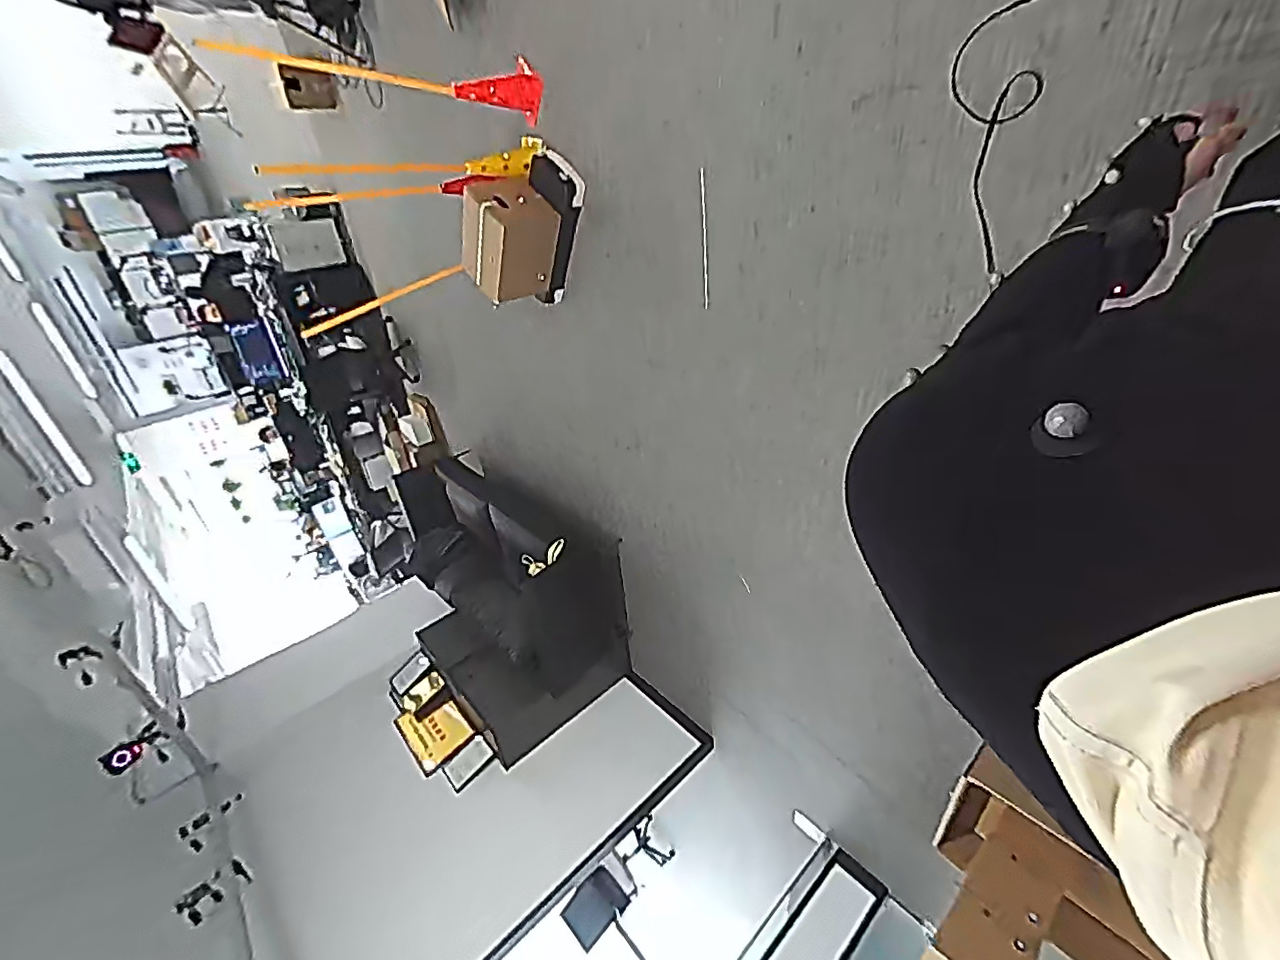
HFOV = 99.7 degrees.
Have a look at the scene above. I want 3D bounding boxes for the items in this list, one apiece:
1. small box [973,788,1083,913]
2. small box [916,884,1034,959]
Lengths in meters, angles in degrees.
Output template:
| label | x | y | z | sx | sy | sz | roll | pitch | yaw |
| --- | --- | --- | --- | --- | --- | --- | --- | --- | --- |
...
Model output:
| label | x | y | z | sx | sy | sz | roll | pitch | yaw |
| --- | --- | --- | --- | --- | --- | --- | --- | --- | --- |
| small box | 1.007 | 0.954 | 1.403 | 0.168 | 0.176 | 0.179 | 29 | 134 | 41 |
| small box | 0.758 | 1.077 | 1.227 | 0.168 | 0.176 | 0.179 | 29 | 135 | 42 |
